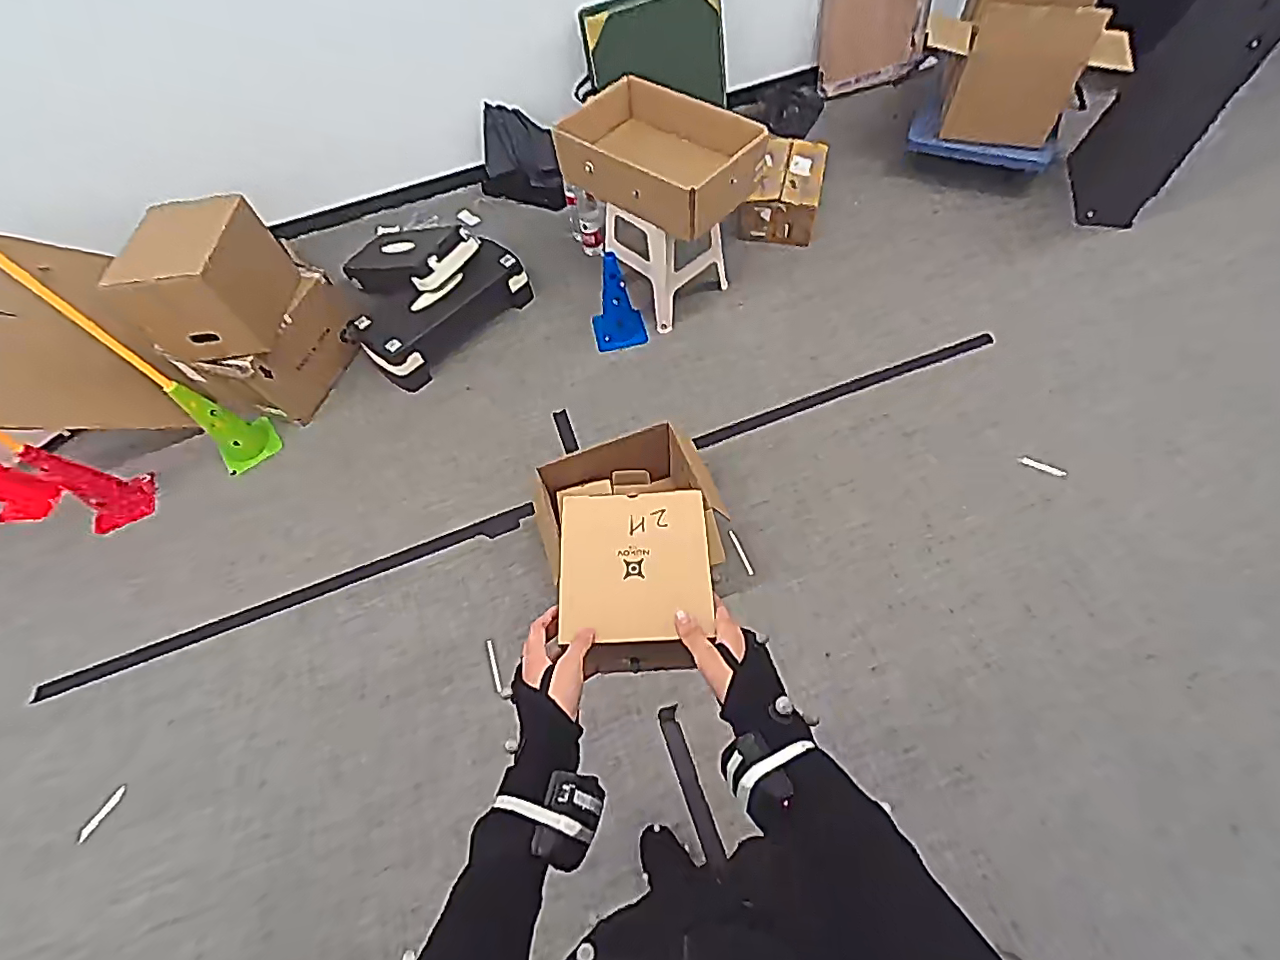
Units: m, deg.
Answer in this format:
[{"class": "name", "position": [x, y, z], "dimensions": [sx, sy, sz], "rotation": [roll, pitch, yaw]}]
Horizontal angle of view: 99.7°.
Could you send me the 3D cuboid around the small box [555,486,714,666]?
[{"class": "small box", "position": [-0.003, 0.124, 0.655], "dimensions": [0.168, 0.176, 0.179], "rotation": [-2, 60, 1]}]
